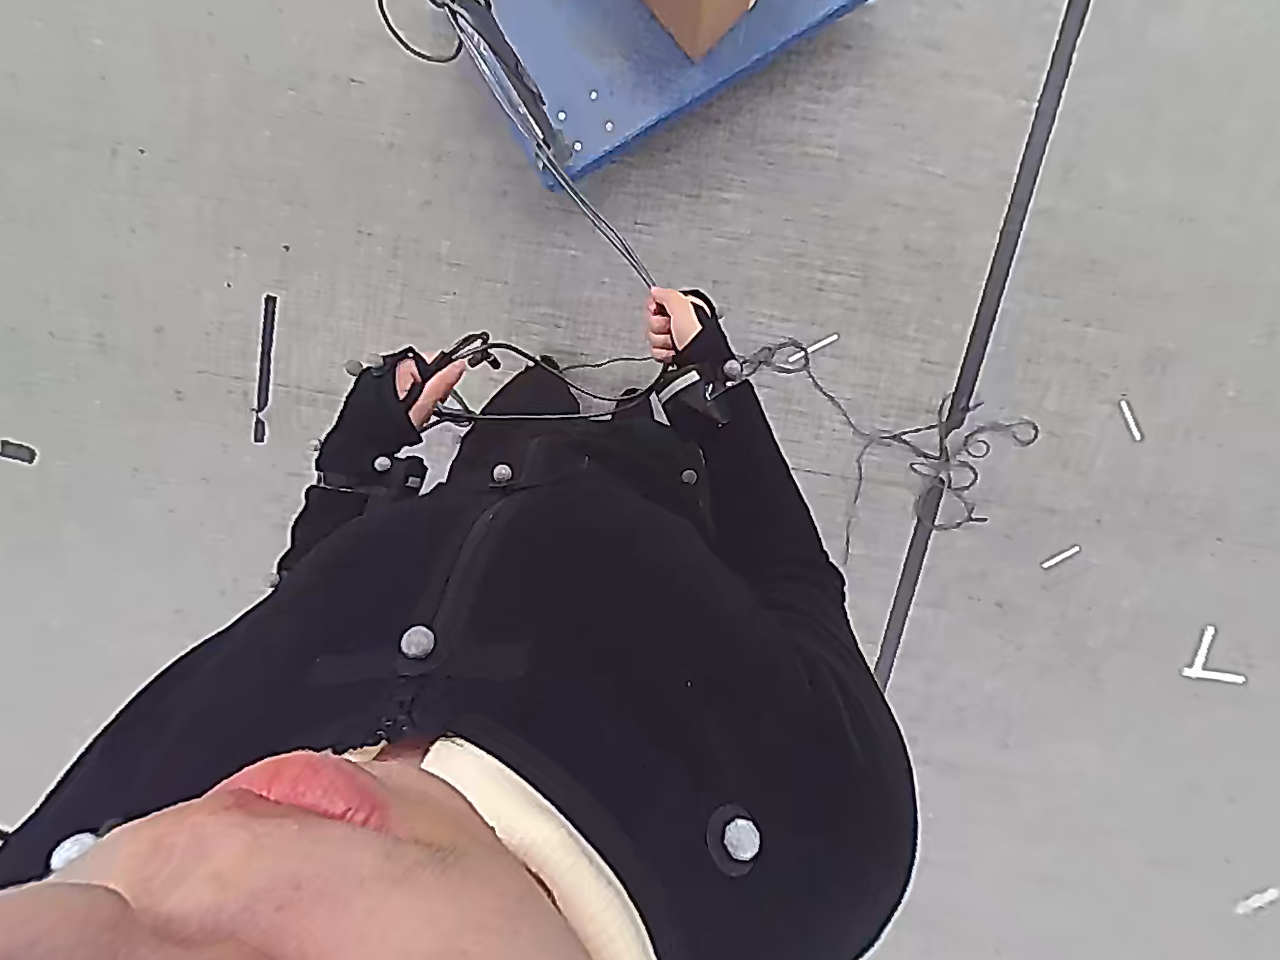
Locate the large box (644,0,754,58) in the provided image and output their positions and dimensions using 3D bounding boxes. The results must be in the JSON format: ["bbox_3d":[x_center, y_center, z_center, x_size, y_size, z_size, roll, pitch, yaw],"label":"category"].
[{"bbox_3d":[0.086,-1.094,0.948,0.320,0.320,0.408,-43,97,10],"label":"large box"}]
